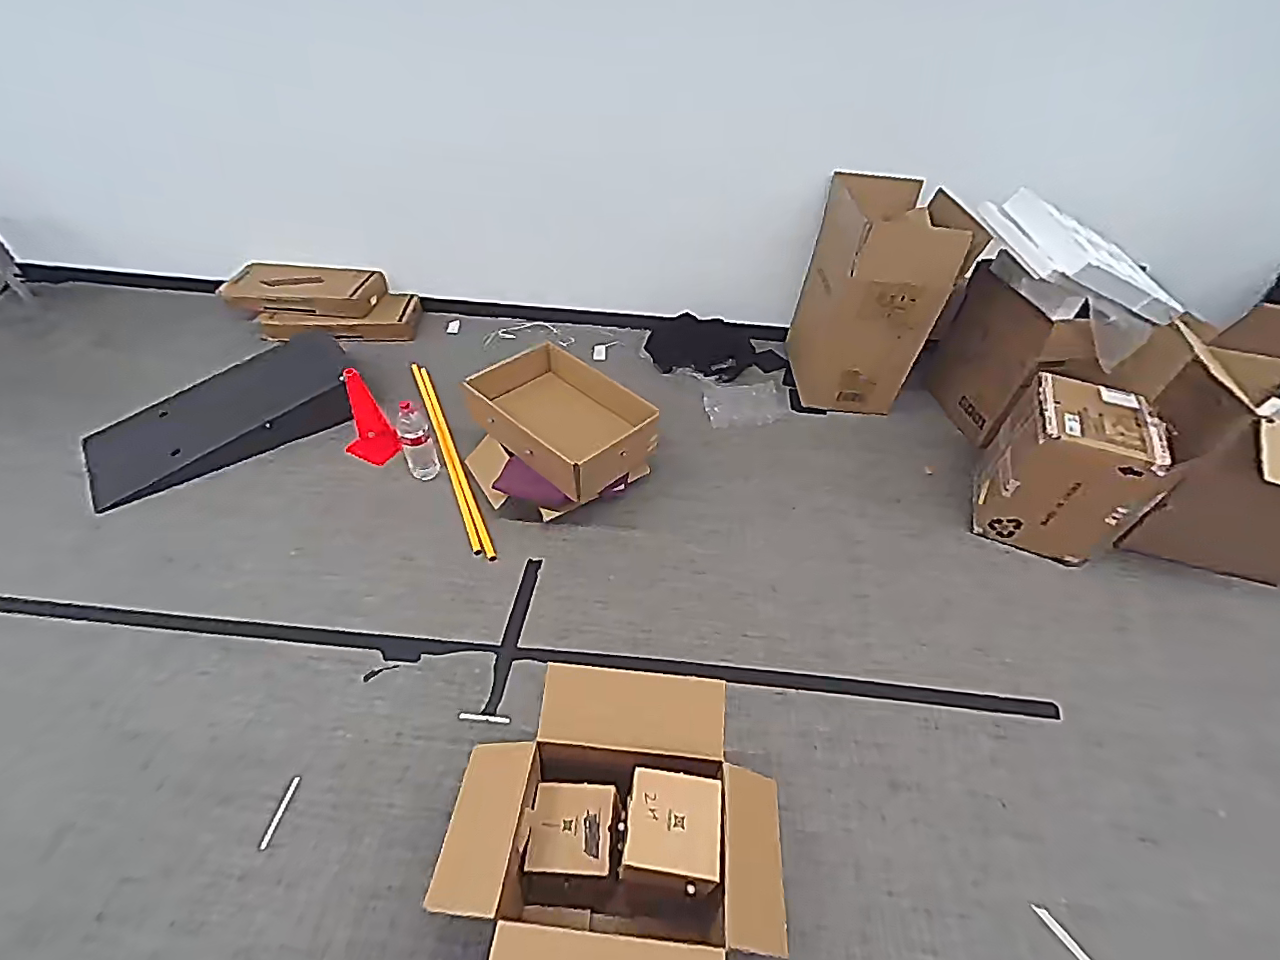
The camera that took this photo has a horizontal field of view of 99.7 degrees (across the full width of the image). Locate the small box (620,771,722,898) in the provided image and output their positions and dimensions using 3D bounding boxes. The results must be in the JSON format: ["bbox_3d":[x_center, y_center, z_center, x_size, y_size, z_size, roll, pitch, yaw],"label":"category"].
[{"bbox_3d":[0.060,0.701,1.067,0.179,0.176,0.168,7,44,3],"label":"small box"}]
